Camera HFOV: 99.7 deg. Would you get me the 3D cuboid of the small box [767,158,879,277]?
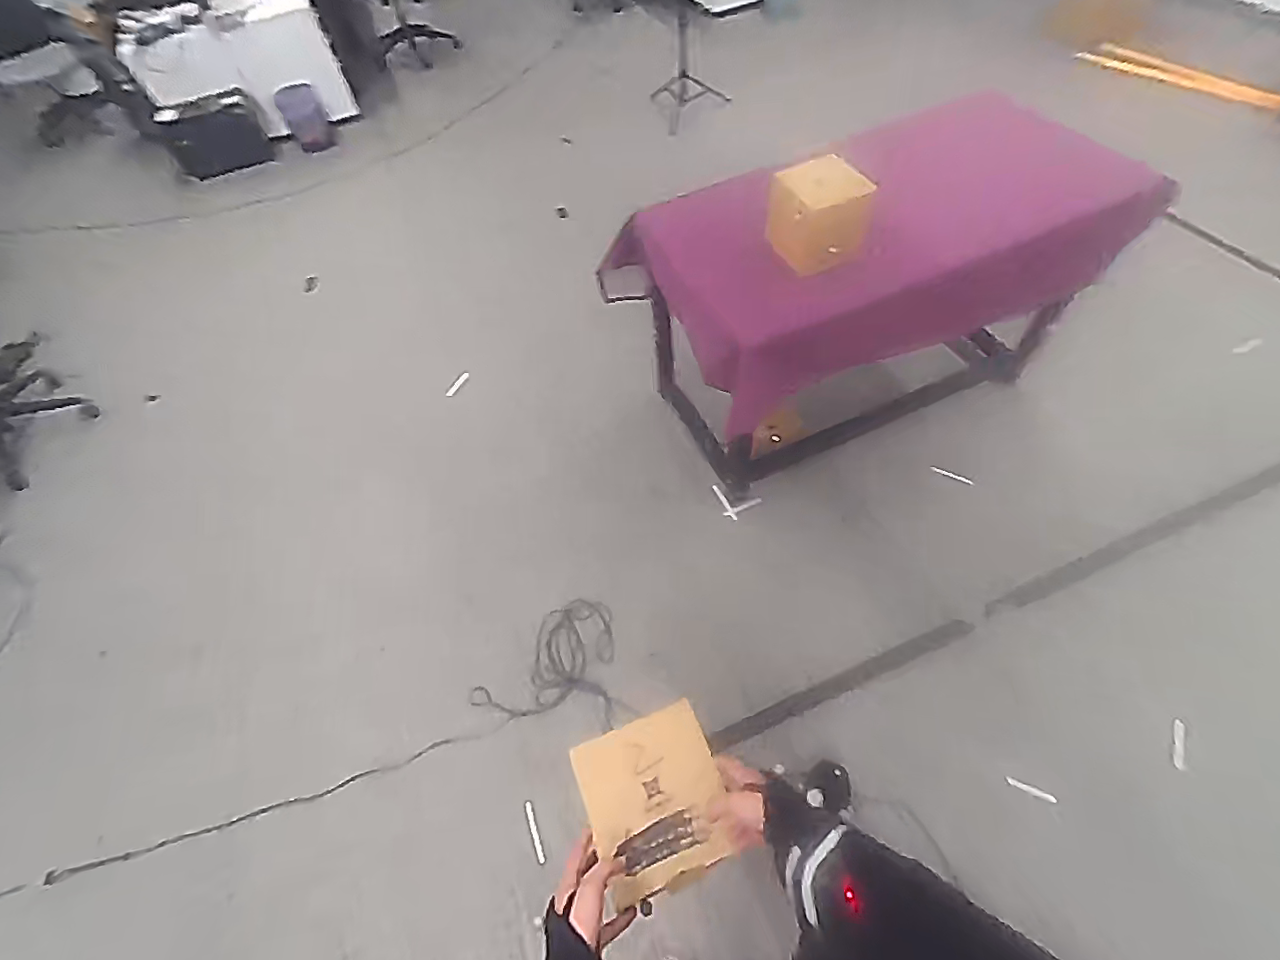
[{"bbox_3d":[0.416,-0.611,1.267,0.168,0.176,0.179,-23,59,-9],"label":"small box"}]
